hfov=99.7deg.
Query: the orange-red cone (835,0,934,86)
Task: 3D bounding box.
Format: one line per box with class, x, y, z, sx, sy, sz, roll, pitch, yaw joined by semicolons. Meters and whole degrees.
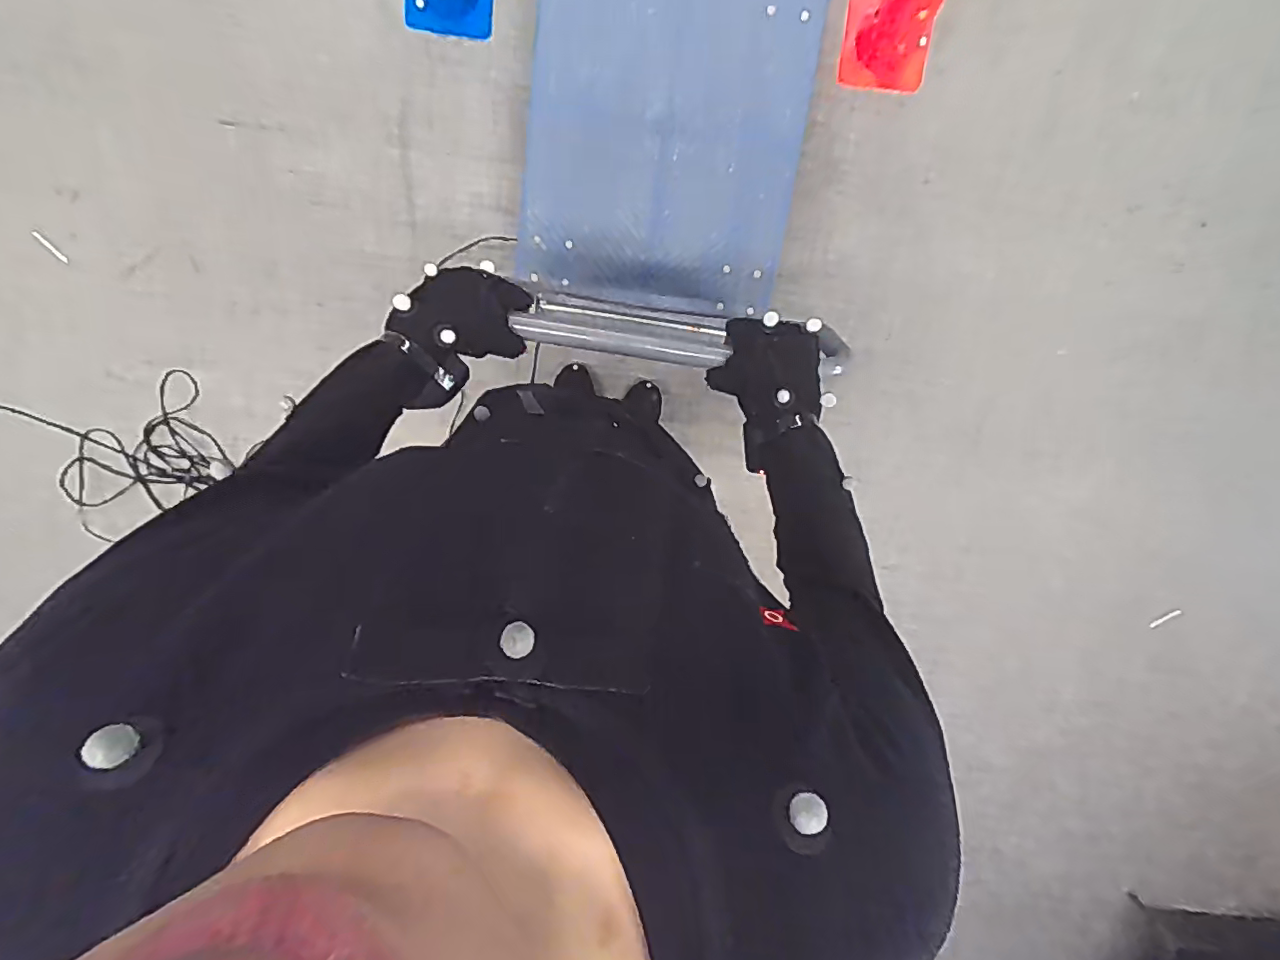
orange-red cone;0.562;-0.998;1.090;0.199;0.360;0.198;7;102;0
